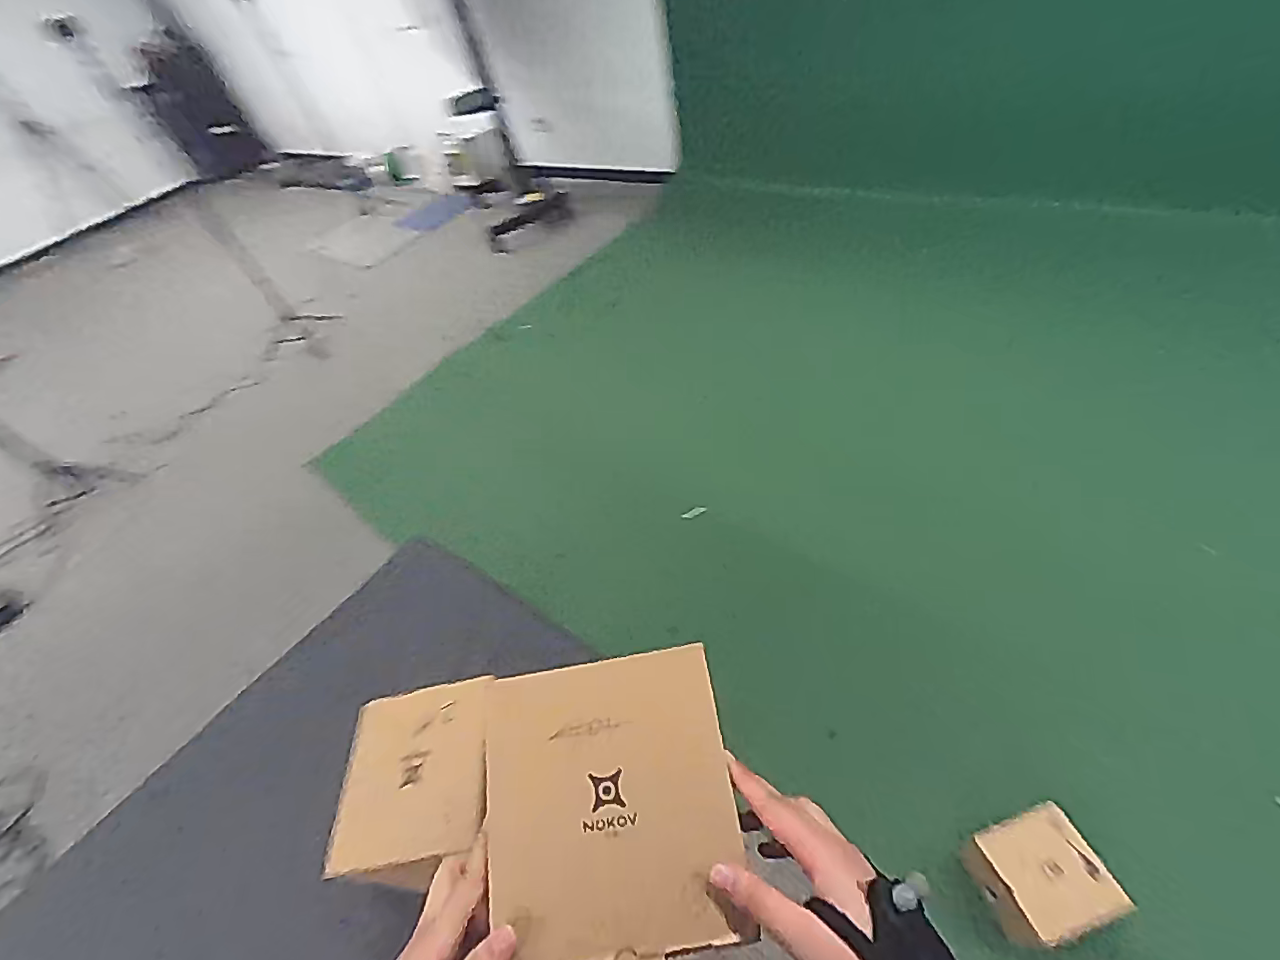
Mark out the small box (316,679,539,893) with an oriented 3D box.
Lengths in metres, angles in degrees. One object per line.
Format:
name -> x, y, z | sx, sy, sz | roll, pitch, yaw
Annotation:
small box -> -0.225, 0.361, 0.628 | 0.168, 0.176, 0.179 | -14, 46, 6

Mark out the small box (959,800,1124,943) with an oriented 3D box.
small box -> 0.739, 0.745, 1.024 | 0.179, 0.176, 0.168 | -21, 46, -3
